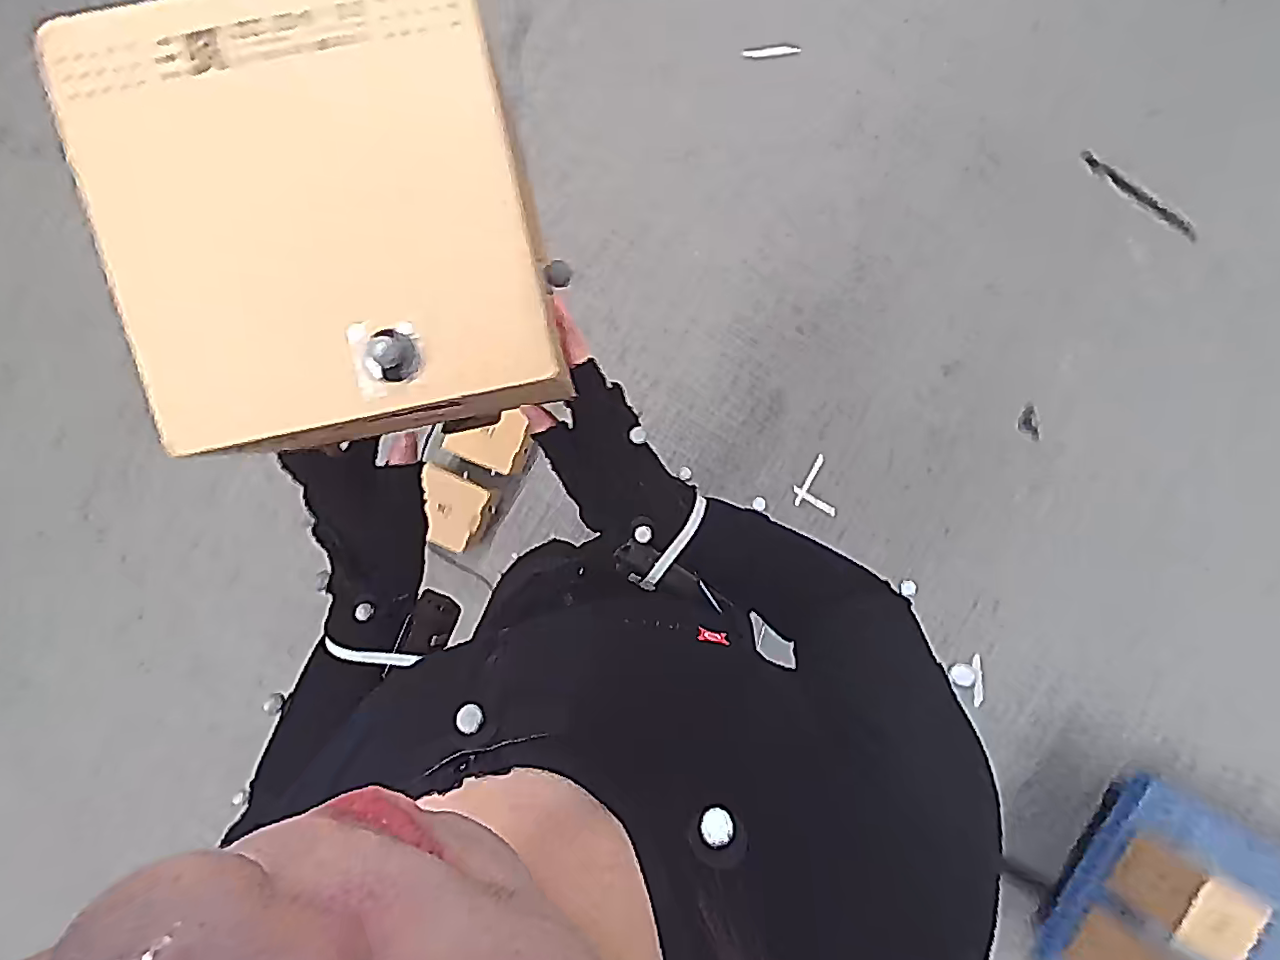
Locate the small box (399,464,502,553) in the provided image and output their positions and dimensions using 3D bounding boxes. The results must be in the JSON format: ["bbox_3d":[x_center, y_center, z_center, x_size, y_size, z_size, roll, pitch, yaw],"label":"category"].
[{"bbox_3d":[-0.476,0.067,1.392,0.179,0.176,0.168,25,89,-2],"label":"small box"}]

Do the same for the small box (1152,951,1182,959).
[{"bbox_3d":[1.200,1.161,1.137,0.179,0.176,0.168,32,89,-2],"label":"small box"}]

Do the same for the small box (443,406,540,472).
[{"bbox_3d":[-0.374,-0.125,1.394,0.179,0.176,0.168,22,90,-4],"label":"small box"}]

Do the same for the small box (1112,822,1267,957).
[{"bbox_3d":[1.310,0.973,1.304,0.179,0.176,0.168,29,90,-4],"label":"small box"}]

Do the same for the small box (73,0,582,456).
[{"bbox_3d":[-0.129,-0.117,0.298,0.168,0.179,0.176,-12,98,-2],"label":"small box"}]
